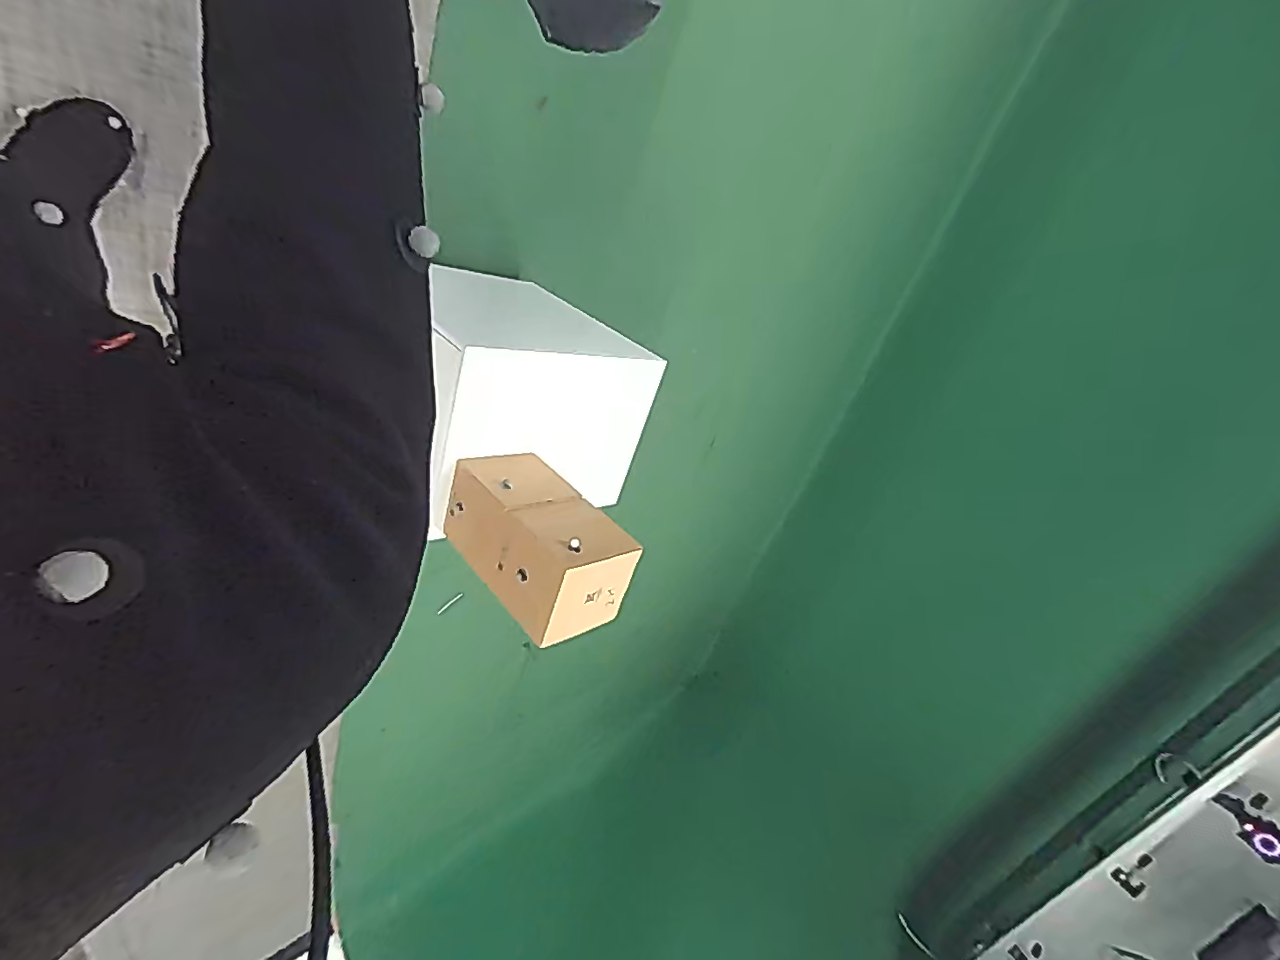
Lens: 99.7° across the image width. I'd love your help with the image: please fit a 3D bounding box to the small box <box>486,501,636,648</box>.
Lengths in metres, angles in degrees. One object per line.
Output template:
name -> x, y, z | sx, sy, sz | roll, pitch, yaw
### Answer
small box -> -0.143, 0.155, 0.946 | 0.179, 0.176, 0.168 | -9, 128, -49
